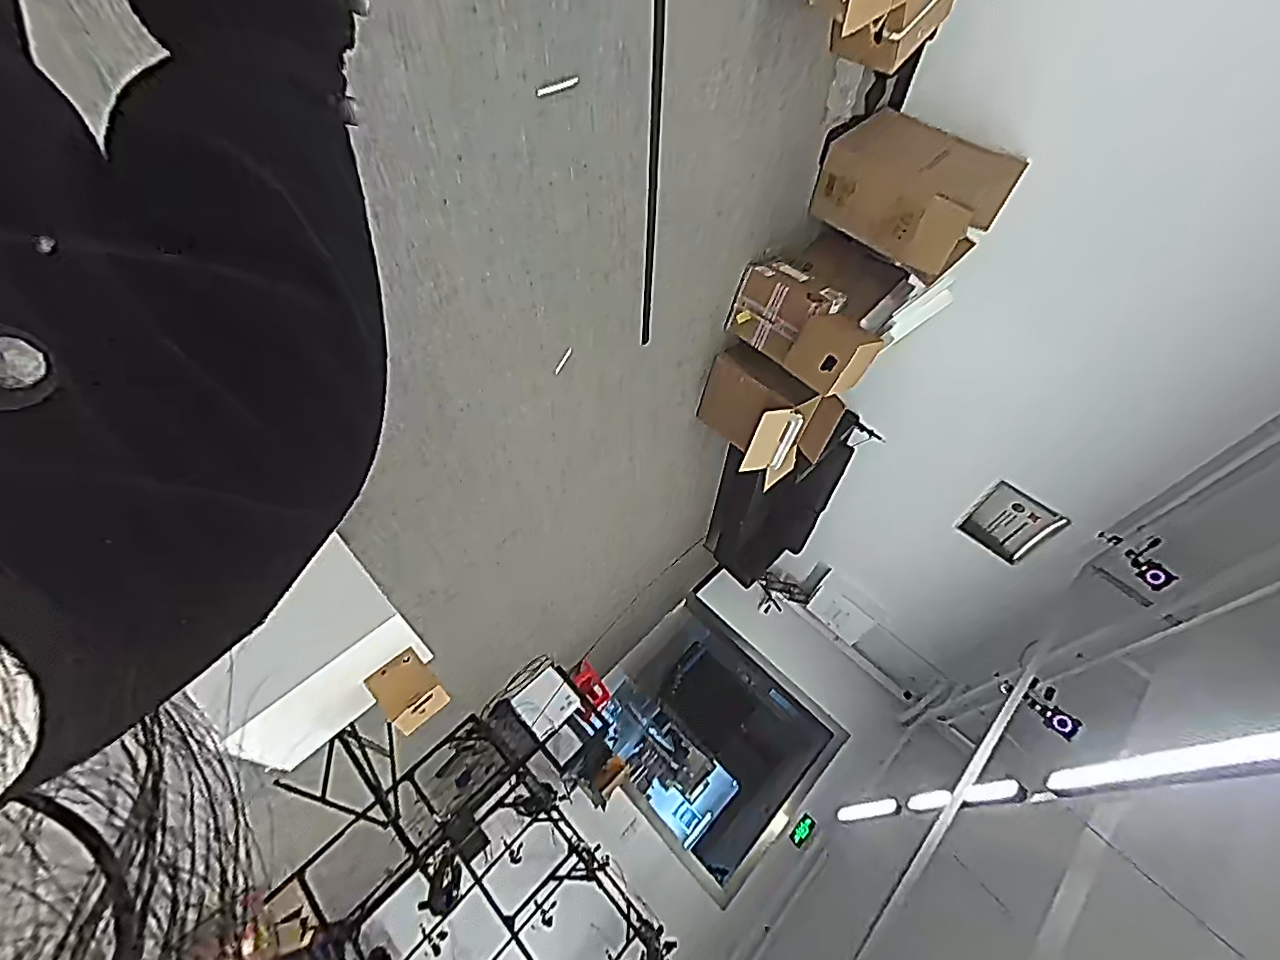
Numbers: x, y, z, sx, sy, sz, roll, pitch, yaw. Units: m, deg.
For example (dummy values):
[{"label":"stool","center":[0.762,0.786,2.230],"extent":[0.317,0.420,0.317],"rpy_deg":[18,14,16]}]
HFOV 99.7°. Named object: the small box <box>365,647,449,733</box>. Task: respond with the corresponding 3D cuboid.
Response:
[{"label":"small box","center":[-0.744,0.665,1.725],"extent":[0.168,0.176,0.179],"rpy_deg":[-37,154,-27]}]
